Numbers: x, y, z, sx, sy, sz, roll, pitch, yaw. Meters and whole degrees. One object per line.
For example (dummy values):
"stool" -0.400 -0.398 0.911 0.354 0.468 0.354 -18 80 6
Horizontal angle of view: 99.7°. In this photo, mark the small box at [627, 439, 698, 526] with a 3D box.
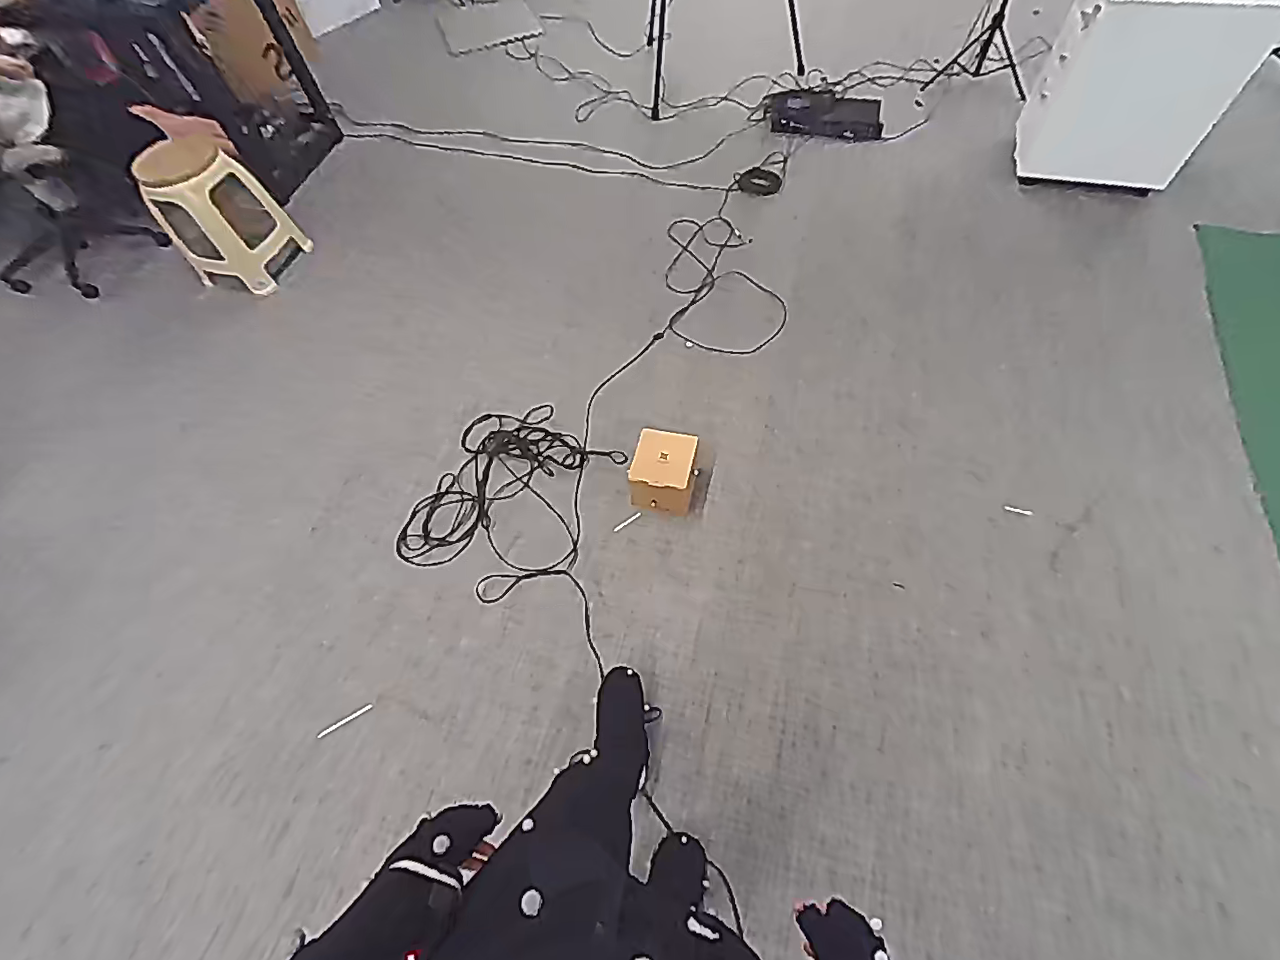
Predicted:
"small box" 0.069 0.010 1.565 0.168 0.176 0.179 10 61 12
